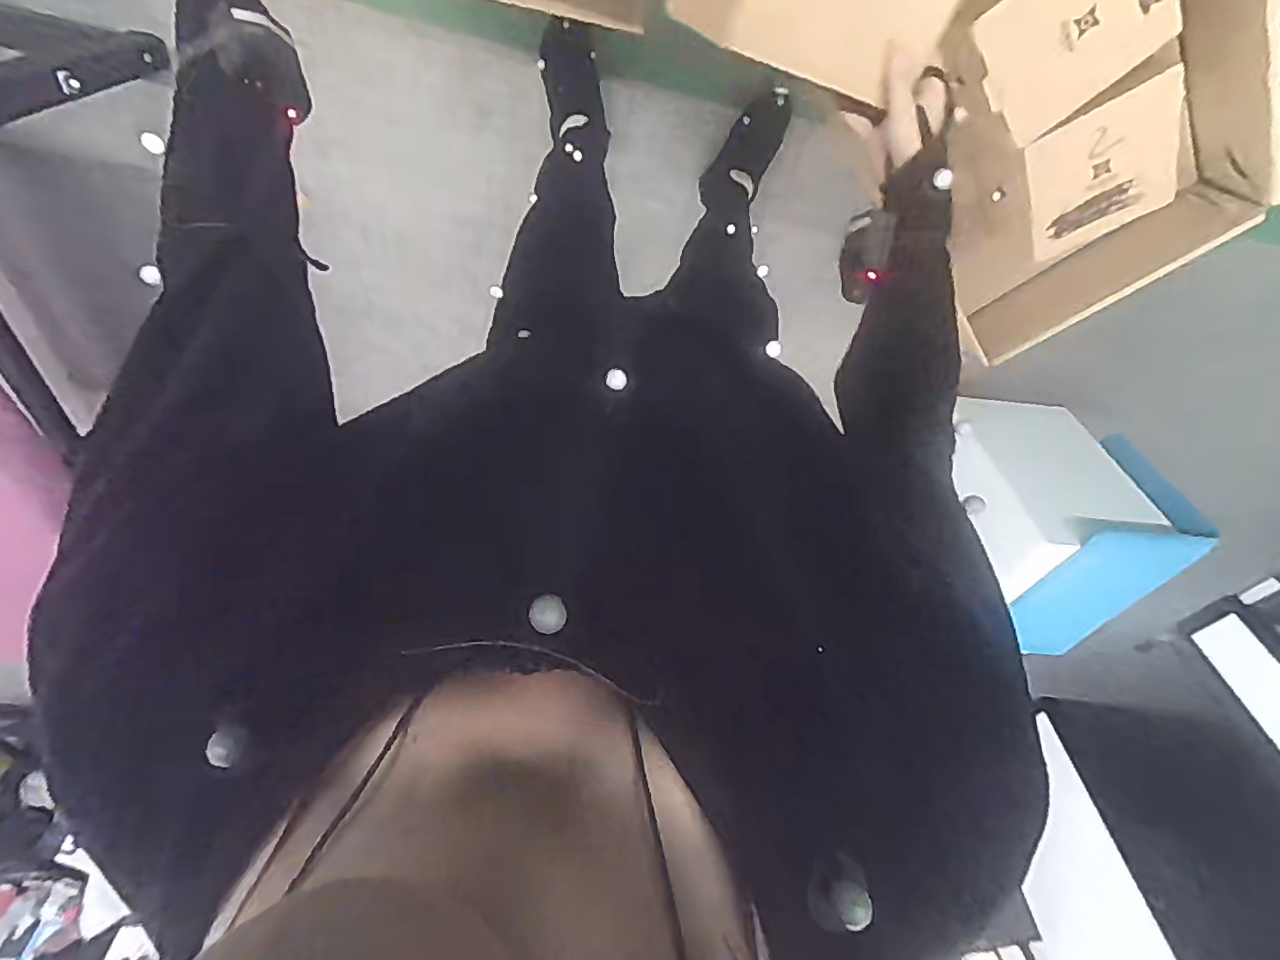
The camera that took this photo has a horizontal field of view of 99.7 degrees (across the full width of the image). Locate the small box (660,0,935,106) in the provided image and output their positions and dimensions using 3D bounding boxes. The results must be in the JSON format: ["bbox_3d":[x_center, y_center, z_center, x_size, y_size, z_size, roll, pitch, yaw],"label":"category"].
[{"bbox_3d":[0.136,-0.442,0.439,0.179,0.176,0.168,3,135,-21],"label":"small box"}]
